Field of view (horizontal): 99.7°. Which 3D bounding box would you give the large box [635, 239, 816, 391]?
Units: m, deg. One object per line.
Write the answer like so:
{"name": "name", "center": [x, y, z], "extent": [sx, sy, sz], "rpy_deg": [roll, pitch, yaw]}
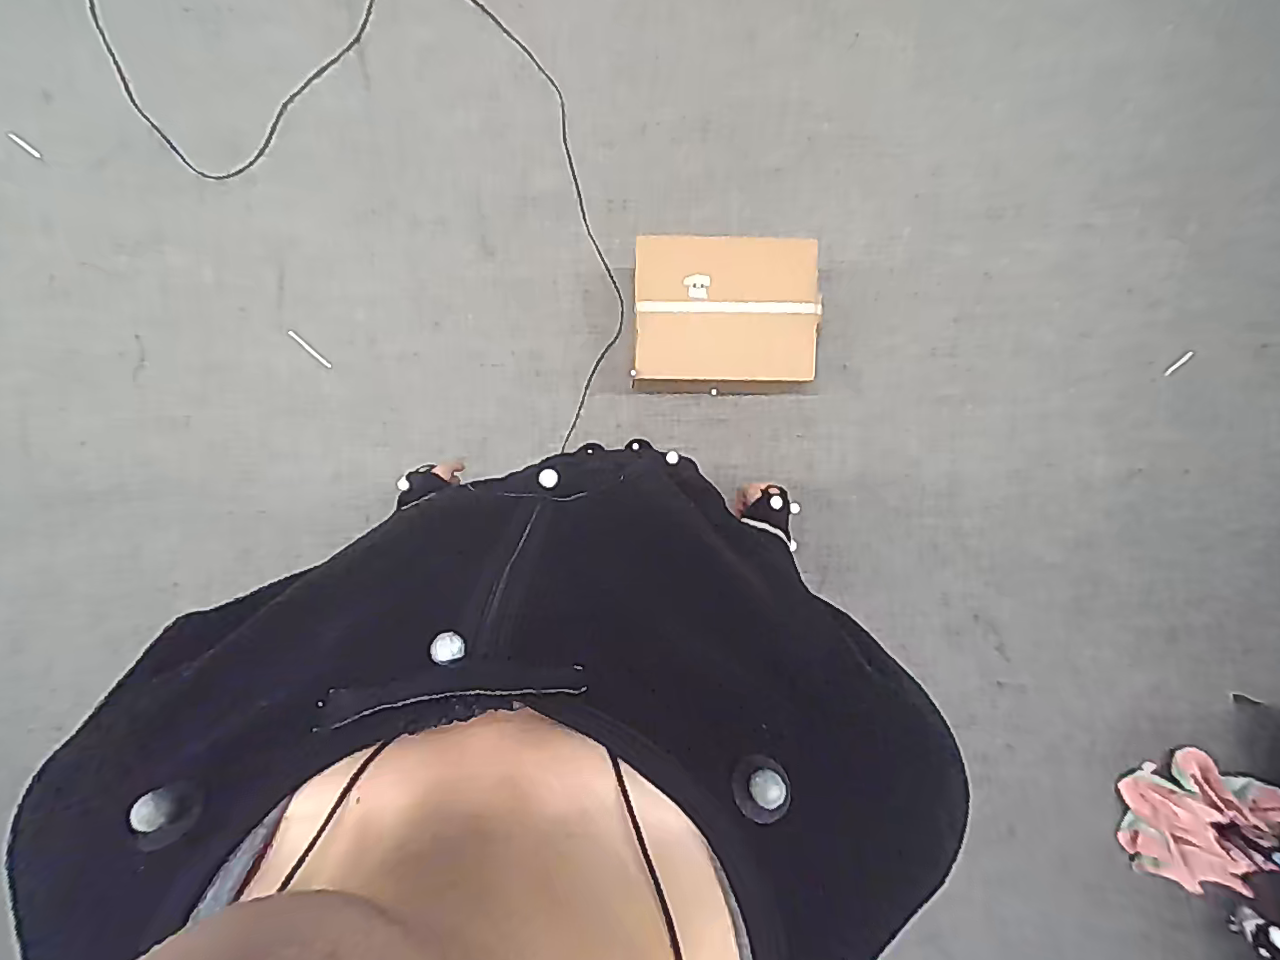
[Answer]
{"name": "large box", "center": [0.192, -0.387, 1.345], "extent": [0.408, 0.320, 0.320], "rpy_deg": [1, 93, 0]}
